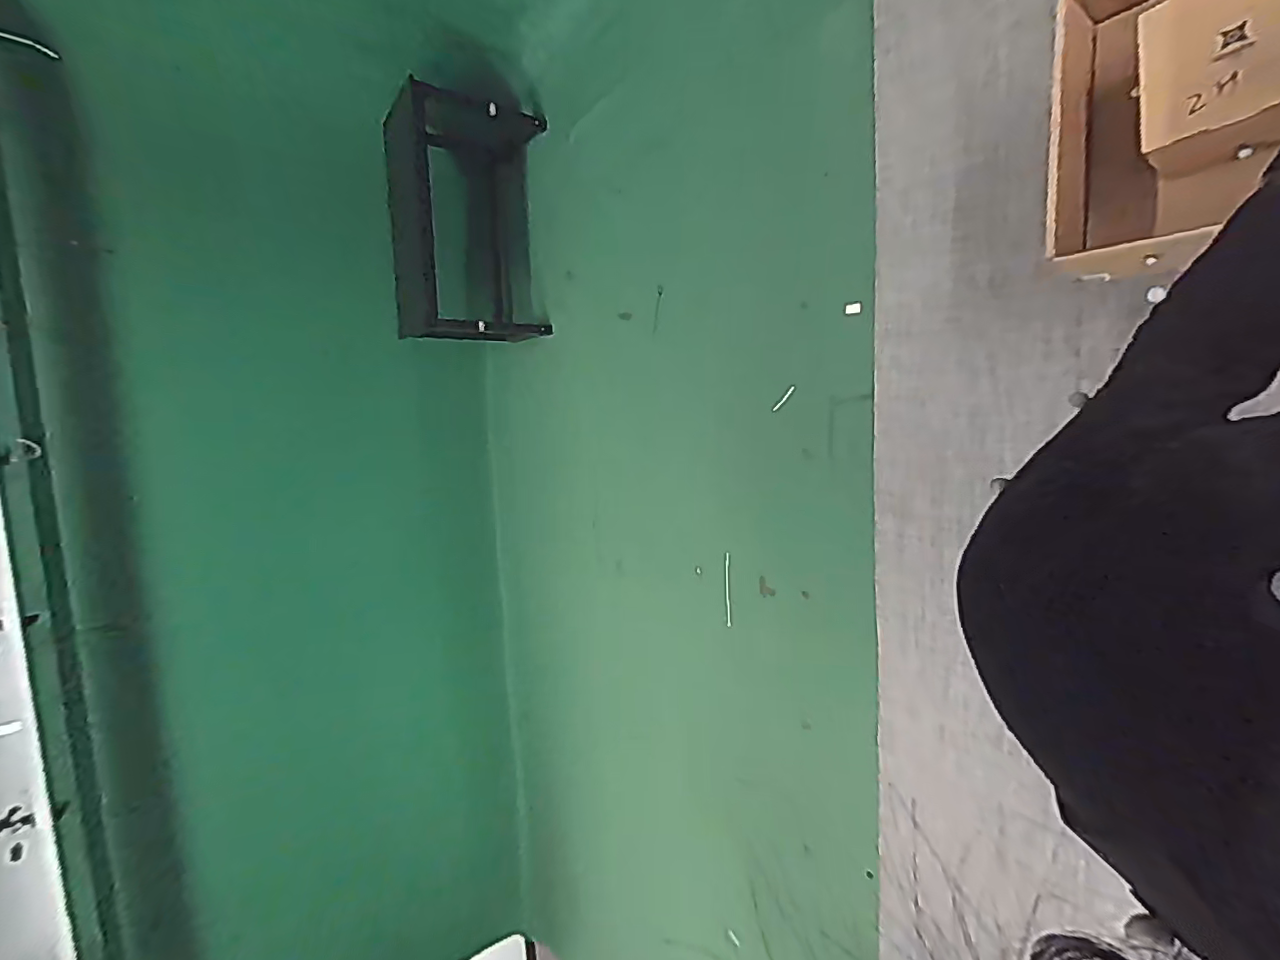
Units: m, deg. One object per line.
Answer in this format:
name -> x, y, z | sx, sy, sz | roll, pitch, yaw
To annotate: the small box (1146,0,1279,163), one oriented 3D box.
small box -> 0.759, -0.534, 0.672 | 0.168, 0.176, 0.179 | 0, 97, 54
